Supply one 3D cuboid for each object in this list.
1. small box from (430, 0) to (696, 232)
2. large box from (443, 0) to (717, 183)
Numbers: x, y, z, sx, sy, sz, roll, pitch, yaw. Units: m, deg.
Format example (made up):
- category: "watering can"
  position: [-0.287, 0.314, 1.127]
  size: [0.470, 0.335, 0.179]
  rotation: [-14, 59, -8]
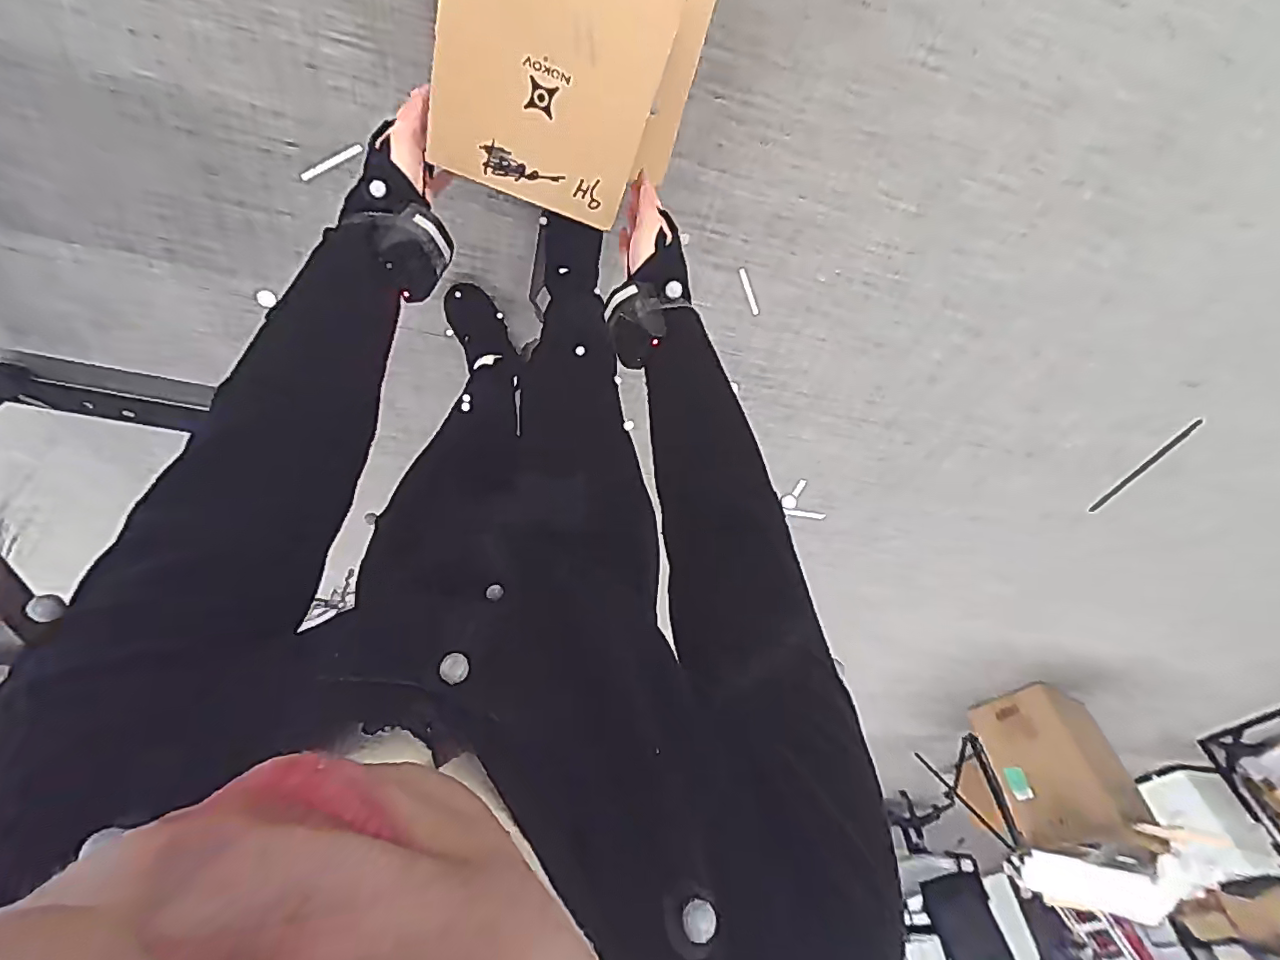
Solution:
- category: "small box"
  position: [-0.067, -0.357, 0.470]
  size: [0.168, 0.176, 0.179]
  rotation: [16, 131, -14]
- category: "large box"
  position: [-0.063, -0.686, 0.719]
  size: [0.320, 0.320, 0.408]
  rotation: [10, 132, -13]
